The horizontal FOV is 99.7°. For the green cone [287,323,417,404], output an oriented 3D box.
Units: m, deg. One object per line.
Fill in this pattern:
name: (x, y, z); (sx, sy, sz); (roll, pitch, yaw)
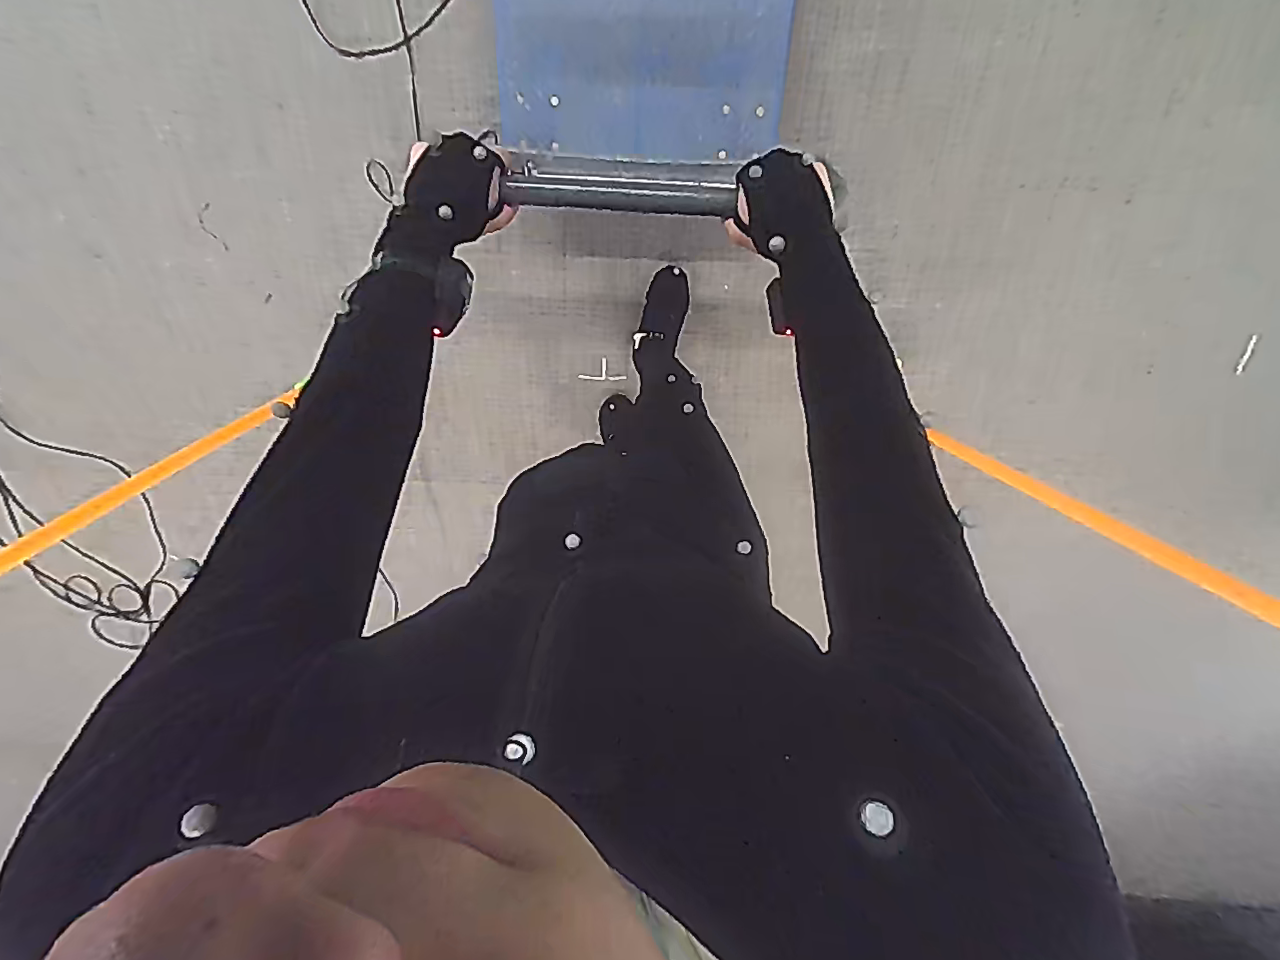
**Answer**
green cone: (-0.741, -0.263, 1.347); (0.202, 0.368, 0.200); (-1, 114, 4)
